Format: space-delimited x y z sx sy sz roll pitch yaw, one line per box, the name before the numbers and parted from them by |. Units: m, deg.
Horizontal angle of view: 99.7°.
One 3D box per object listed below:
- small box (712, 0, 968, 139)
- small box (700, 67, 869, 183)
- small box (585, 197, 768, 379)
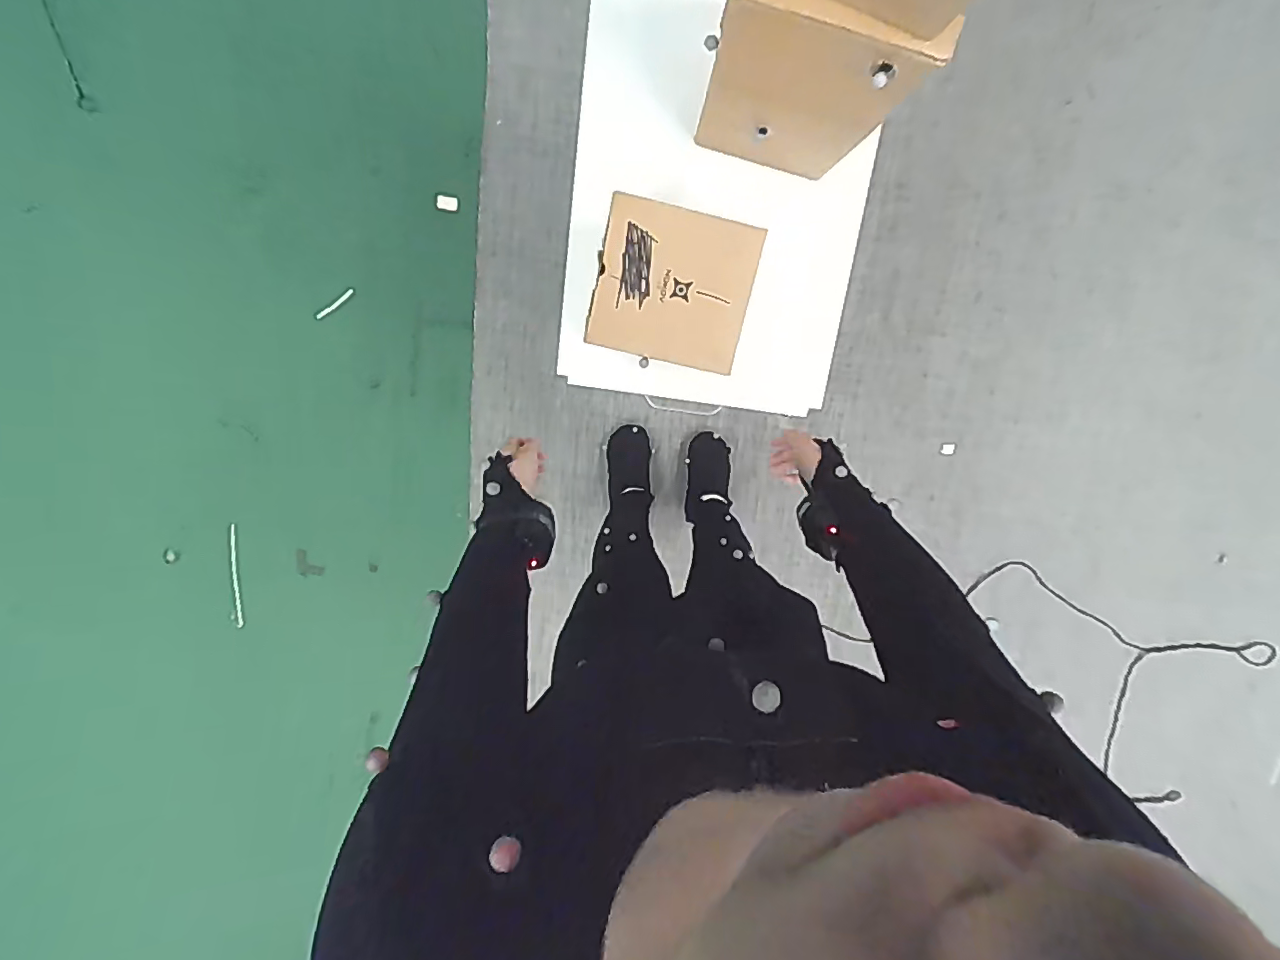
small box | 0.171 -0.429 0.469 0.179 0.176 0.168 14 104 -3
small box | 0.176 -0.470 0.626 0.179 0.176 0.168 15 103 -3
small box | 0.038 -0.229 0.684 0.179 0.176 0.168 13 103 -4
